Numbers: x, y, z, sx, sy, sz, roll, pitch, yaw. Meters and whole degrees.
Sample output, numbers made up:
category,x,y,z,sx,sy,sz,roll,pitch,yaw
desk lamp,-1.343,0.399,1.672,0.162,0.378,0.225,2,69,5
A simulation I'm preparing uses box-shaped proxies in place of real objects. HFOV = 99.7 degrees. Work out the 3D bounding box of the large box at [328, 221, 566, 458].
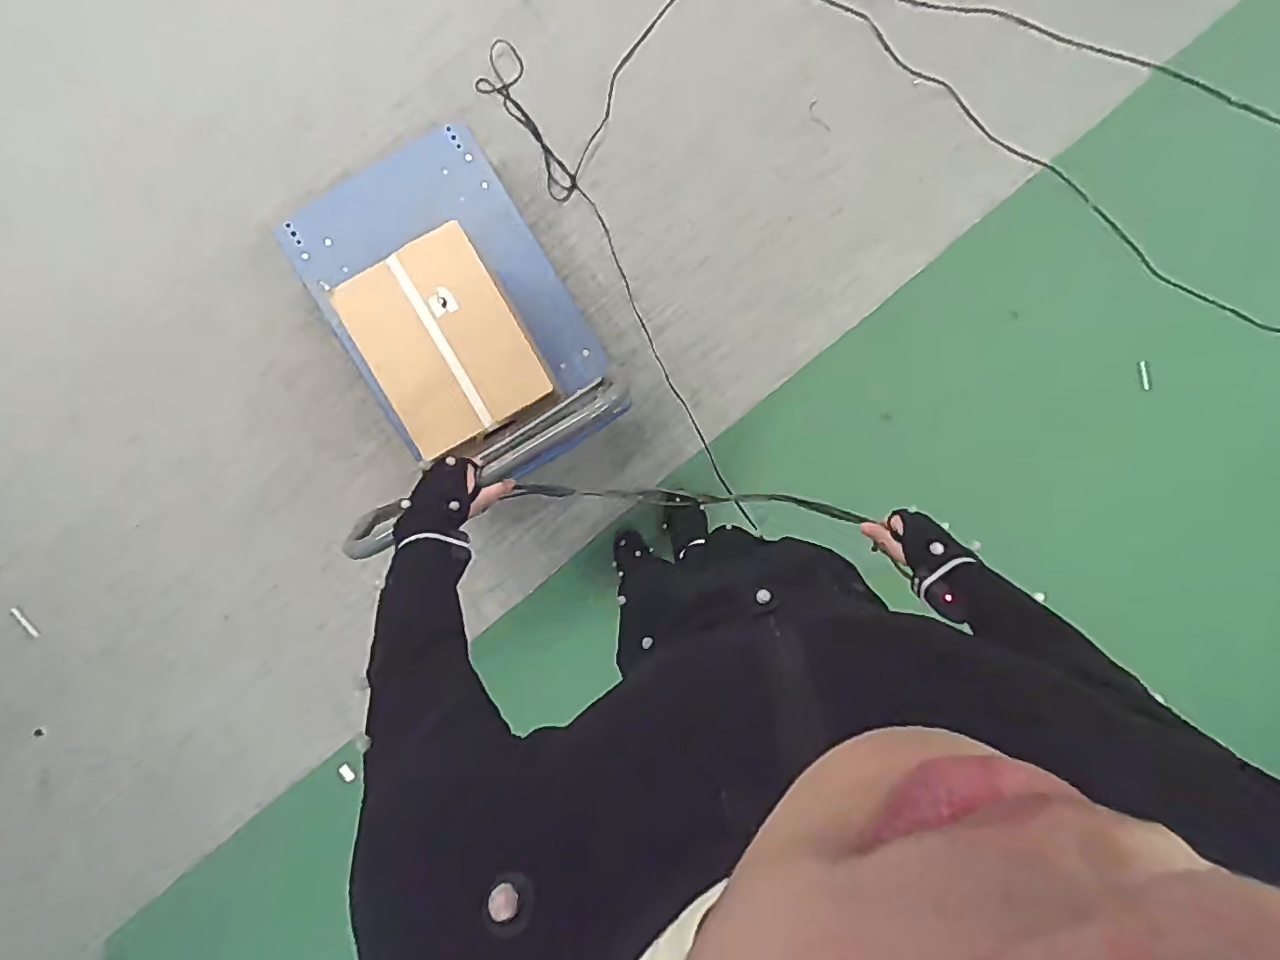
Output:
category,x,y,z,sx,sy,sz,roll,pitch,yaw
large box,-0.418,-0.296,1.271,0.320,0.320,0.408,-30,93,-1
